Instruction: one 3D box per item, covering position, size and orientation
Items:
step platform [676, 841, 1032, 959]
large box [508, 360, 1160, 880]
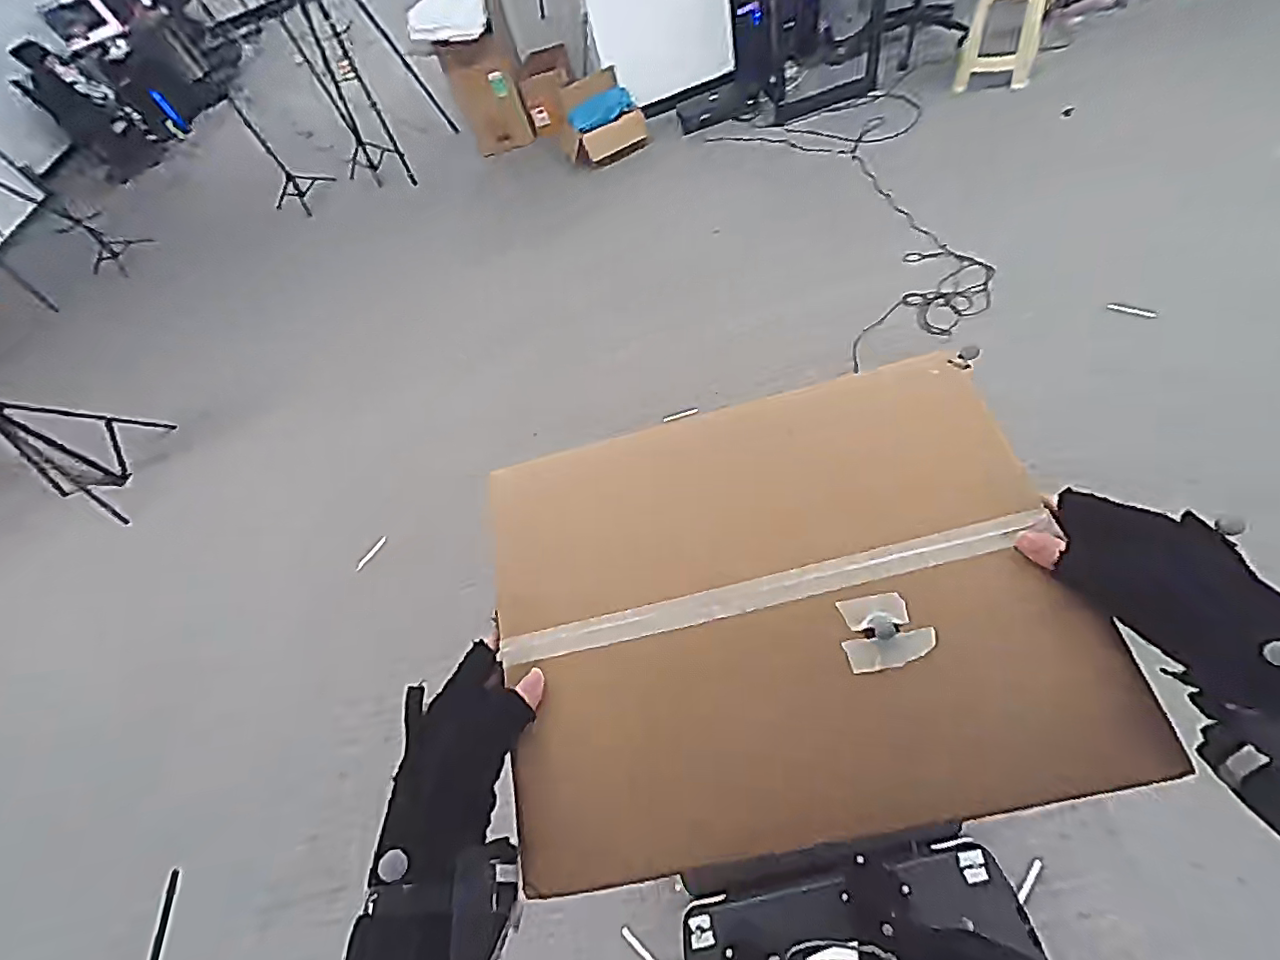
[{"bbox_3d":[0.419,0.985,1.112,0.684,0.204,0.286,-19,54,6],"label":"step platform"},{"bbox_3d":[0.126,0.143,0.541,0.408,0.320,0.320,-15,65,5],"label":"large box"}]
